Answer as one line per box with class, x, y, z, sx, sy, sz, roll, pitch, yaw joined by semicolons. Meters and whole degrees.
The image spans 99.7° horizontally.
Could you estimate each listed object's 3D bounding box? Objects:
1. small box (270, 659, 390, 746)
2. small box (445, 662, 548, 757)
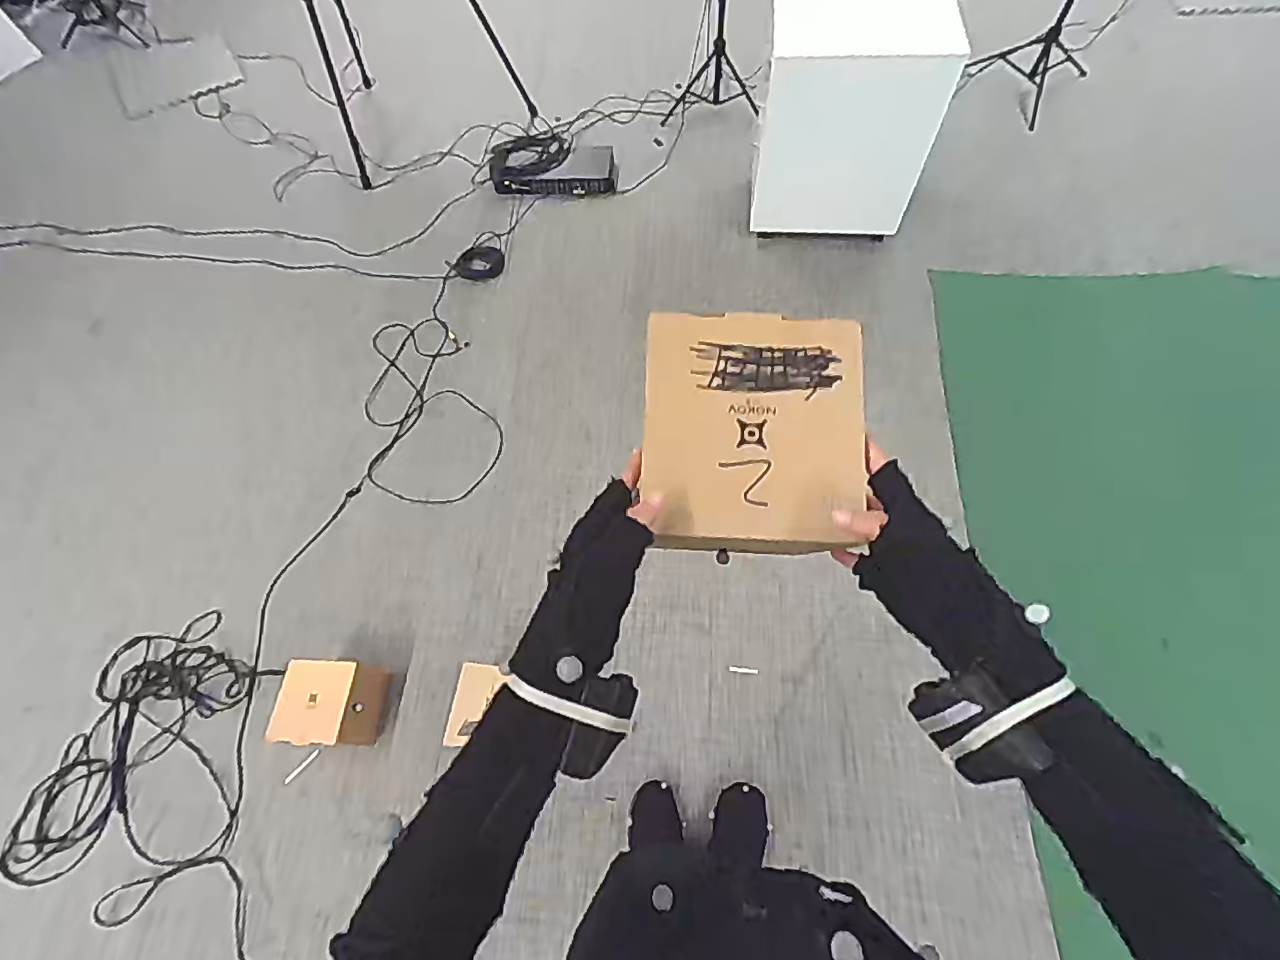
small box;-0.725;0.534;1.292;0.168;0.176;0.179;1;64;5
small box;-0.324;0.537;1.259;0.168;0.176;0.179;5;63;7
